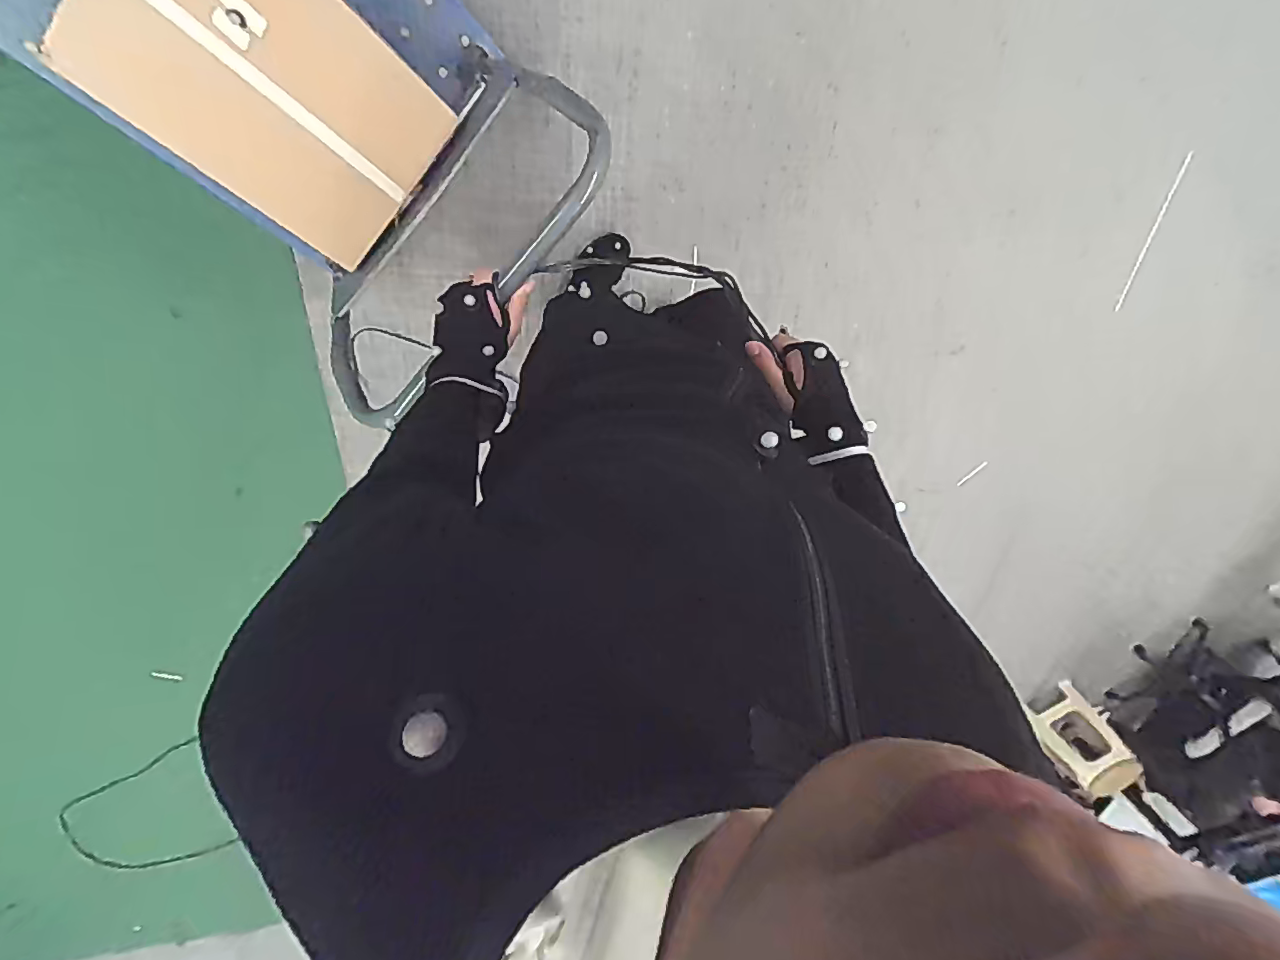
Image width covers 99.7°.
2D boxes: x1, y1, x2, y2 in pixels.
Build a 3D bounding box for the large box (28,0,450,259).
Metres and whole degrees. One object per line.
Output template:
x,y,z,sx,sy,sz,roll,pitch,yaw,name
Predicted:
-0.570,-0.643,0.860,0.320,0.320,0.408,-45,131,14,large box
